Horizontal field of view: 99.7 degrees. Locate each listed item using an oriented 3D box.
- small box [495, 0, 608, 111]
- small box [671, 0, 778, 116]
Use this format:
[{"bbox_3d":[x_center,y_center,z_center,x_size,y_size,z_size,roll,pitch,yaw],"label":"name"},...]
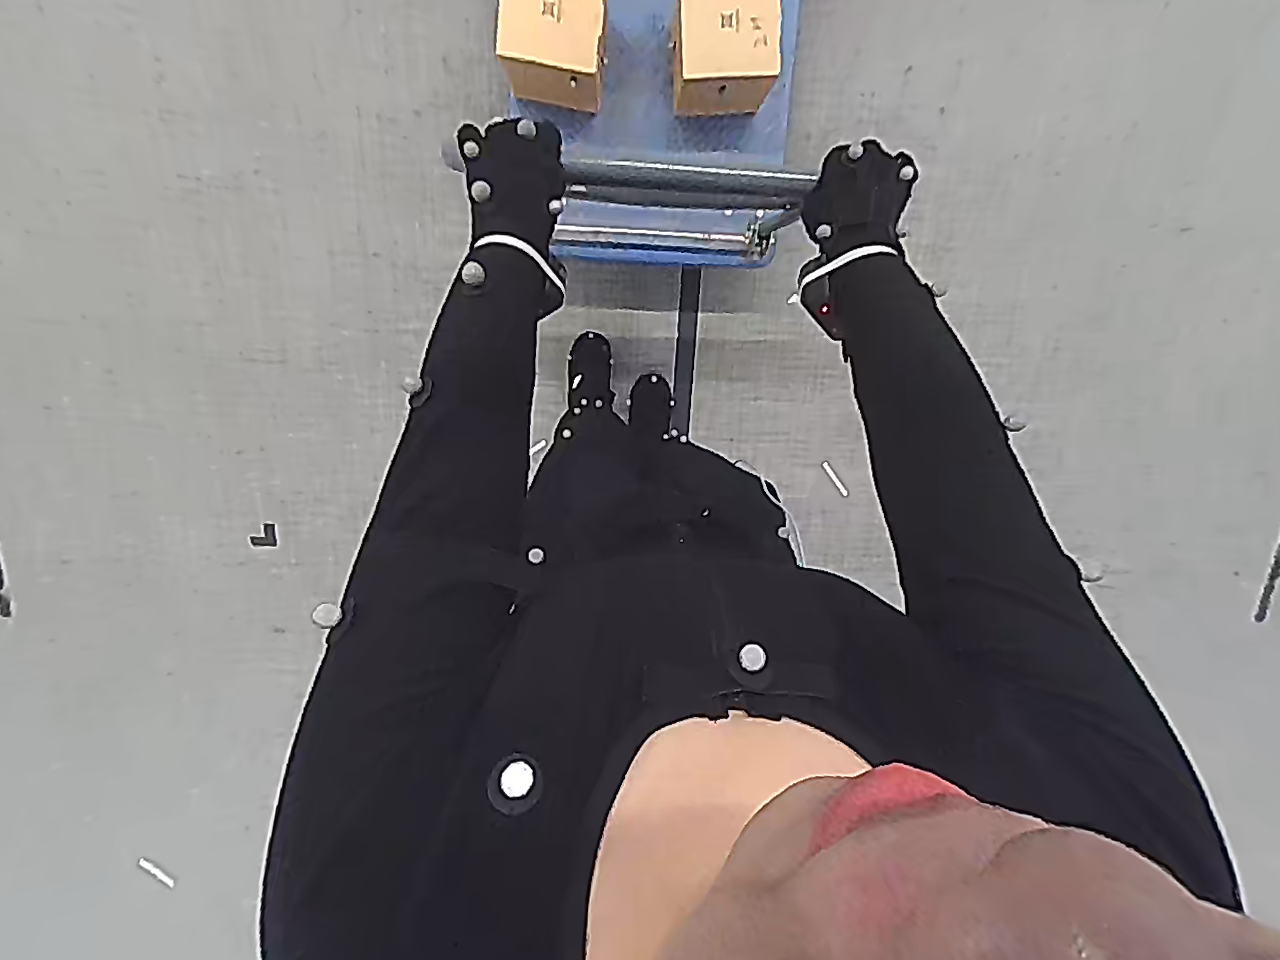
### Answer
[{"bbox_3d":[-0.156,-0.813,0.995,0.179,0.176,0.168,7,104,-6],"label":"small box"},{"bbox_3d":[0.150,-0.805,1.011,0.179,0.176,0.168,-3,105,-2],"label":"small box"}]
